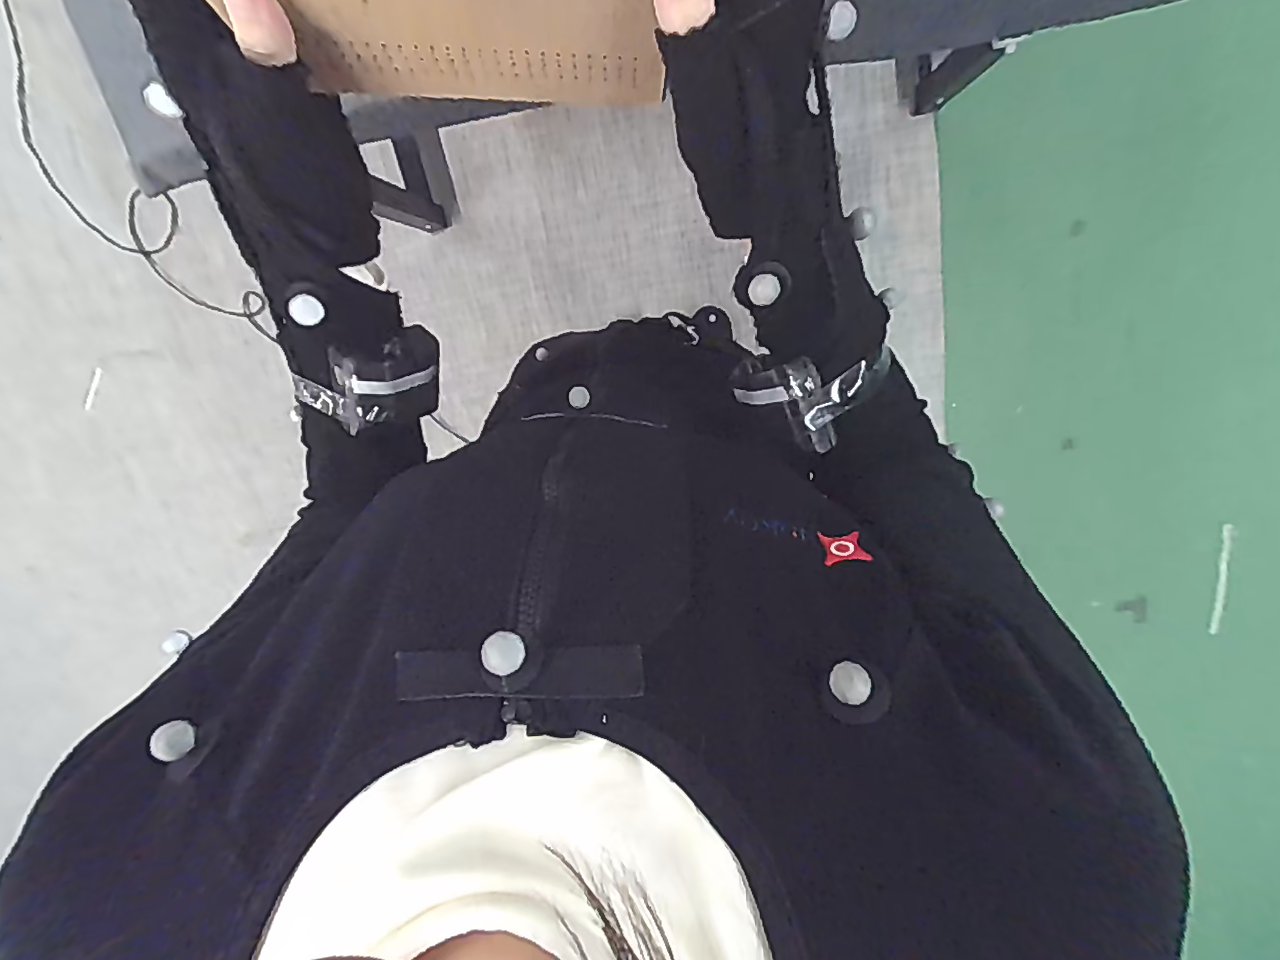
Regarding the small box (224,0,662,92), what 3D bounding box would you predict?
[{"bbox_3d":[-0.073,-0.262,0.172,0.179,0.176,0.168,0,90,-2],"label":"small box"}]
